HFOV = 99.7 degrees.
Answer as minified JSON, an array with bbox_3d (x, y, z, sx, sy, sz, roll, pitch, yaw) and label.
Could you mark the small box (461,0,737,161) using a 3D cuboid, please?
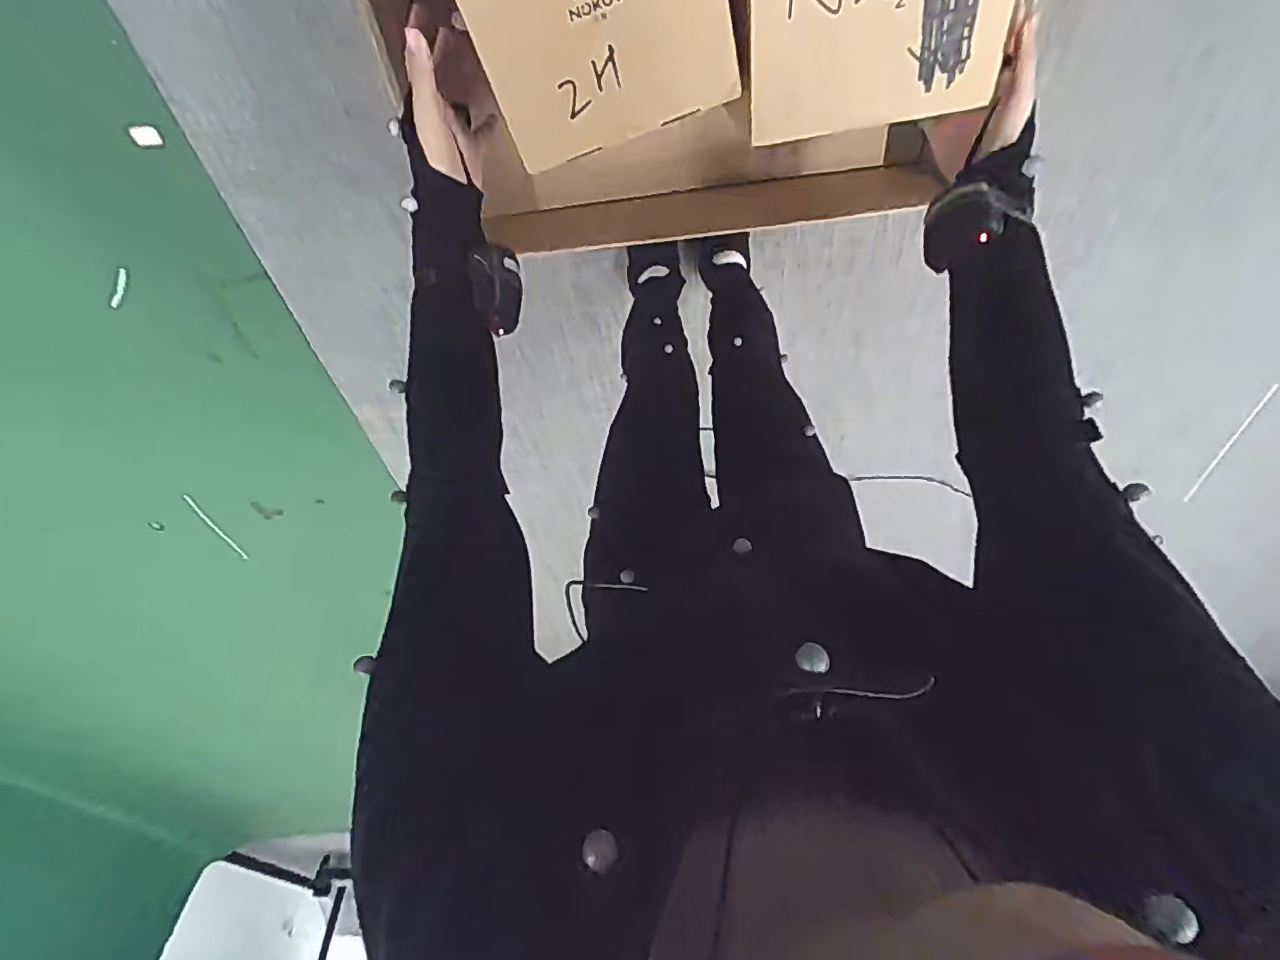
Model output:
[{"bbox_3d":[-0.036,-0.370,0.395,0.168,0.176,0.179,-14,131,11],"label":"small box"}]
